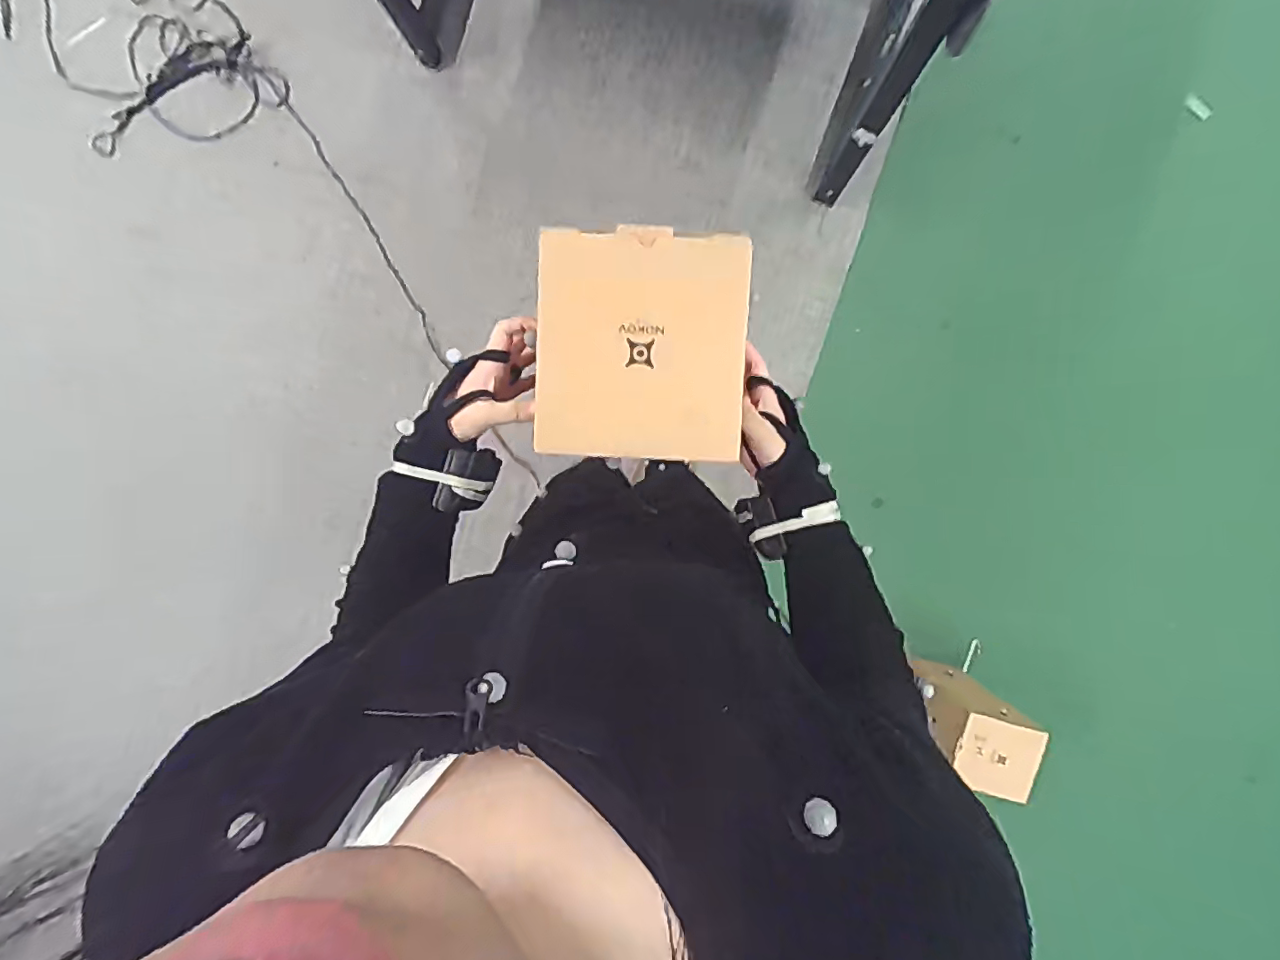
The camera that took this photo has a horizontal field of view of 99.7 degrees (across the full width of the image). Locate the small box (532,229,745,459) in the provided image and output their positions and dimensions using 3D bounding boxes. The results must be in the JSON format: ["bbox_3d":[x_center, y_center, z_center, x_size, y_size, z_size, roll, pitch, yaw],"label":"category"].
[{"bbox_3d":[-0.001,-0.113,0.505,0.168,0.176,0.179,1,95,0],"label":"small box"}]

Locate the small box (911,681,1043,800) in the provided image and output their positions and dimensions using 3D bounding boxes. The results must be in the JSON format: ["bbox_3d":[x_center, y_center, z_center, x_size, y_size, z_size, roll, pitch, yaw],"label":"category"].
[{"bbox_3d":[0.767,0.591,1.249,0.179,0.176,0.168,16,94,1],"label":"small box"}]
